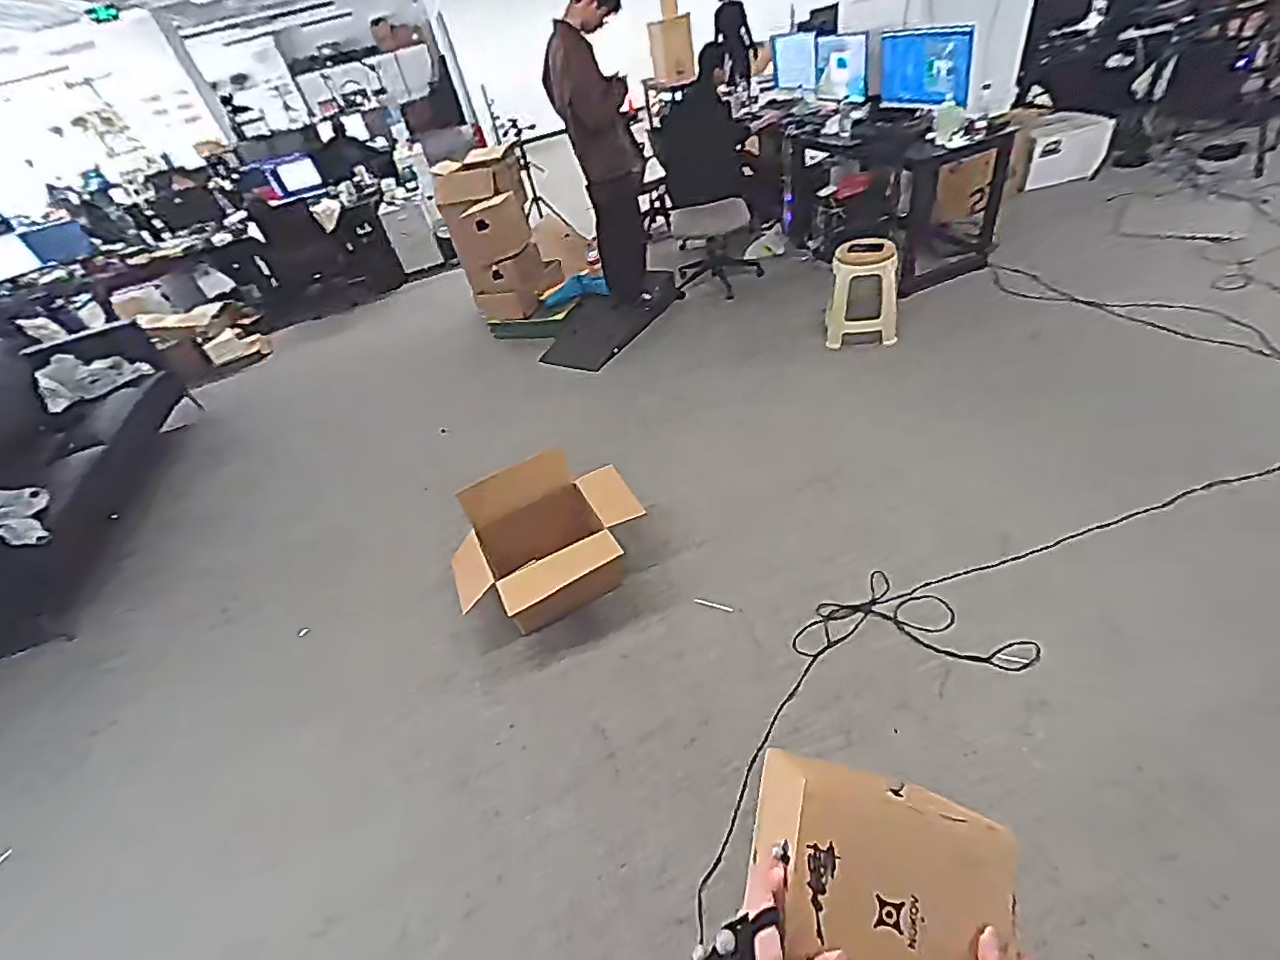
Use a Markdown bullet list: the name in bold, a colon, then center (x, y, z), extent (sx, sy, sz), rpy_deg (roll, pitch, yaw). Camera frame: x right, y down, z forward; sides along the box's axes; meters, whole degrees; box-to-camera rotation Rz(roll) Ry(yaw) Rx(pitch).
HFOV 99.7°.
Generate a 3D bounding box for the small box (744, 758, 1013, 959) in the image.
- **small box**: center (0.207, 0.376, 0.505), extent (0.179, 0.176, 0.168), rpy_deg (12, 71, 5)
